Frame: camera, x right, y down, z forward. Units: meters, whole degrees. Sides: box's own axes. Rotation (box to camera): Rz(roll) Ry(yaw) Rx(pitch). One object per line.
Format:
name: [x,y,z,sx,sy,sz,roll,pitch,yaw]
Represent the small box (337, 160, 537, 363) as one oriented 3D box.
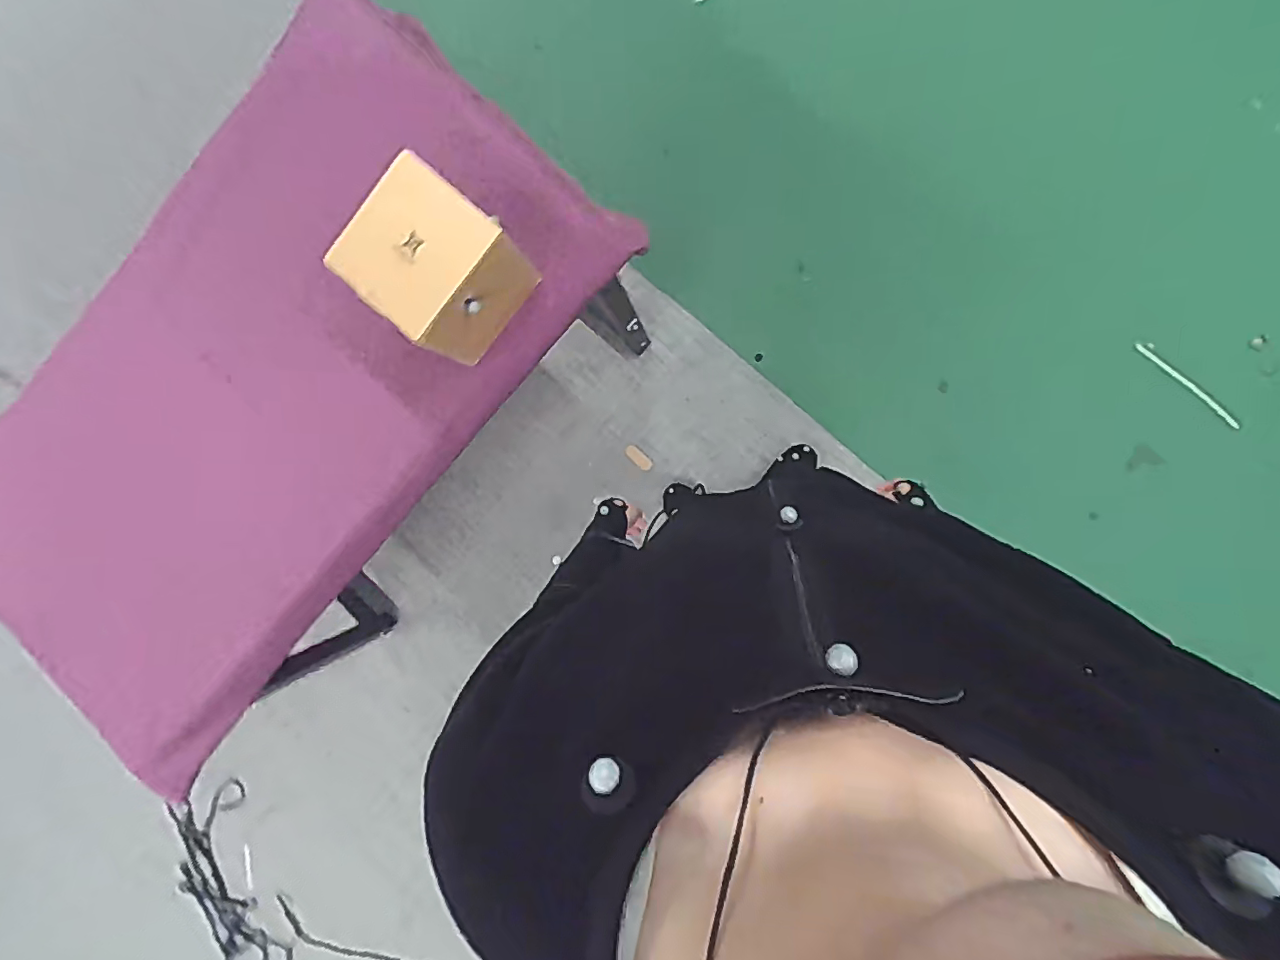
small box: [-0.266,-0.289,0.757,0.168,0.176,0.179,40,98,5]
